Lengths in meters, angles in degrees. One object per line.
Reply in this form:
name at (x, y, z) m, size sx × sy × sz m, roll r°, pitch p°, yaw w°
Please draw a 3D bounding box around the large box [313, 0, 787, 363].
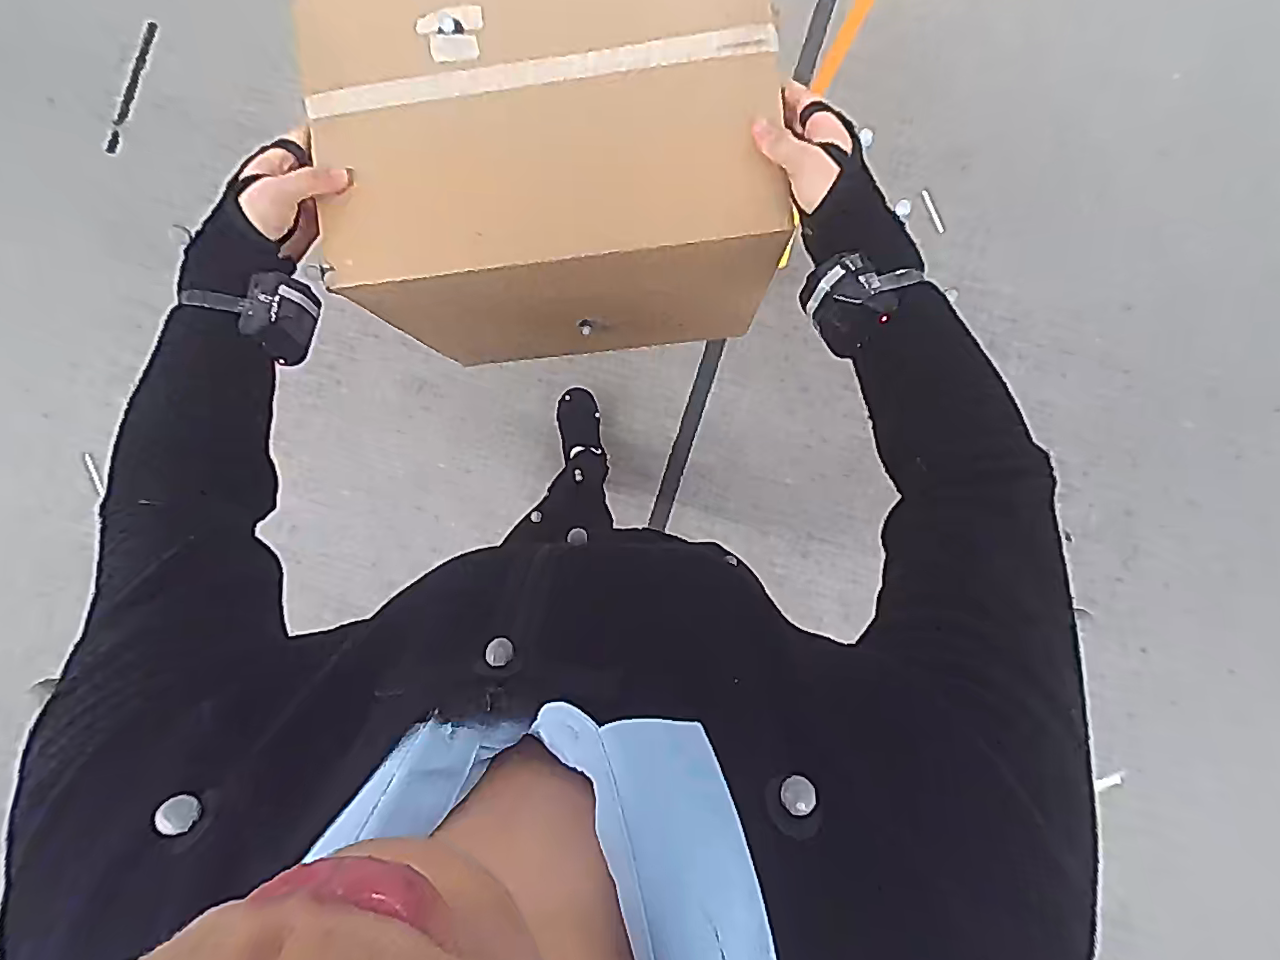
large box at (-0.076, -0.342, 0.623) m, size 0.408 × 0.320 × 0.320 m, roll -6°, pitch 87°, yaw 4°
